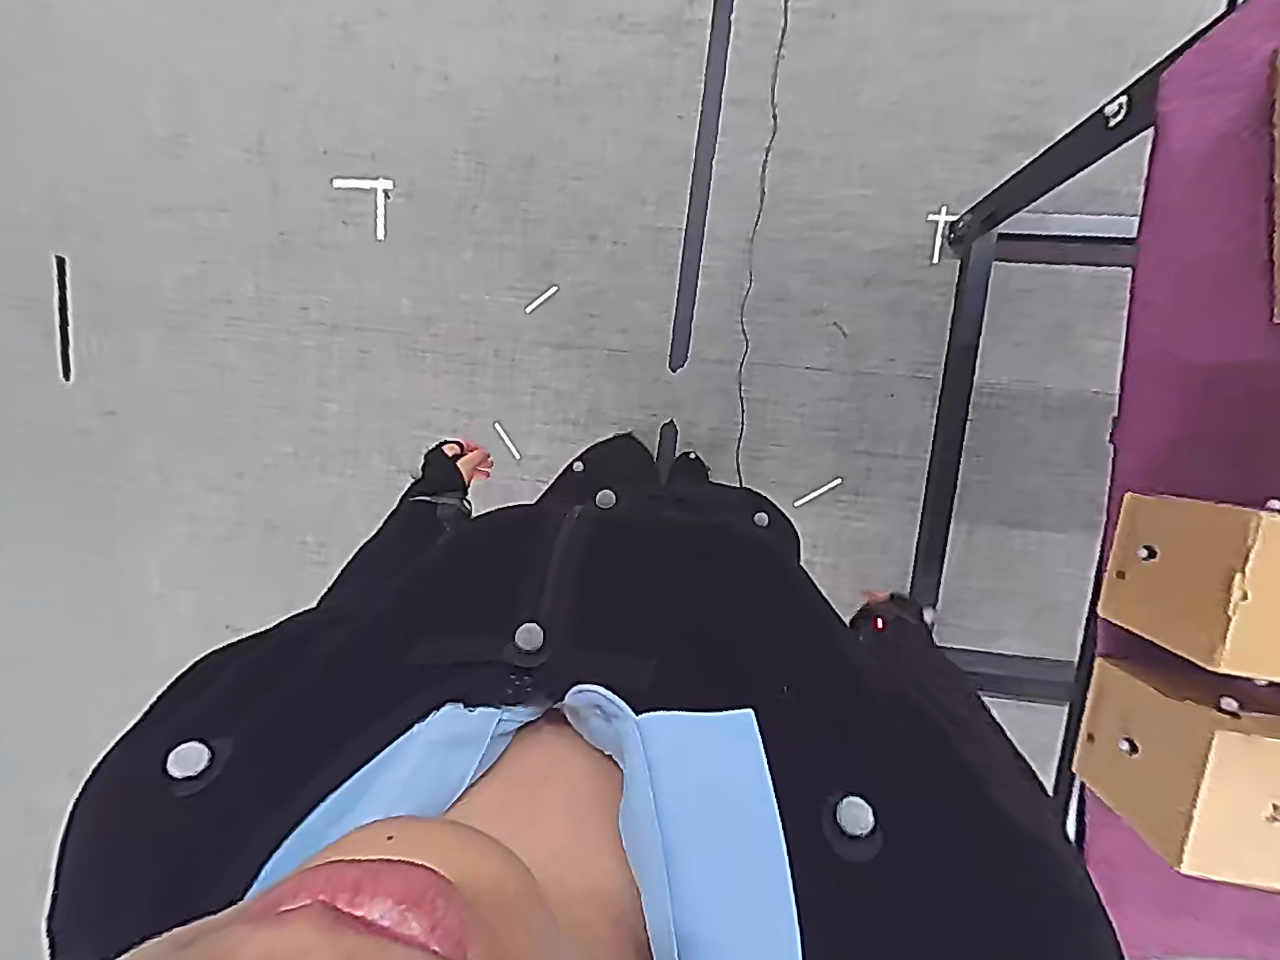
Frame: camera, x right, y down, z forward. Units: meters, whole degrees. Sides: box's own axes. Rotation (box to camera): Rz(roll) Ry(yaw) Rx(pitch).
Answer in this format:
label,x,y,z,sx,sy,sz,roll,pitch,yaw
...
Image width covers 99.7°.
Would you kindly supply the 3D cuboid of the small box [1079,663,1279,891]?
label,x,y,z,sx,sy,sz,roll,pitch,yaw
small box,0.664,0.331,0.625,0.179,0.176,0.168,7,97,4
